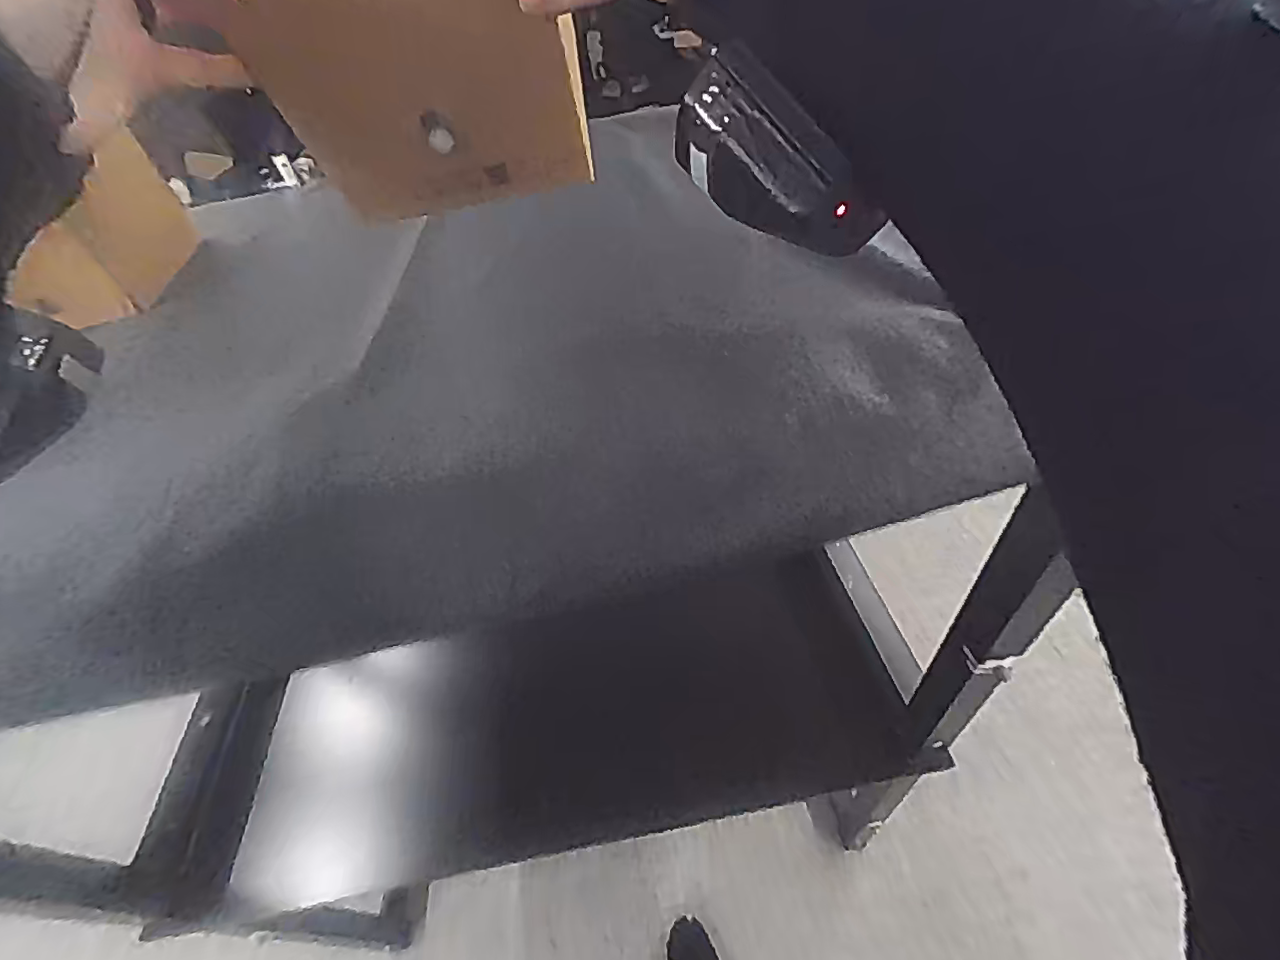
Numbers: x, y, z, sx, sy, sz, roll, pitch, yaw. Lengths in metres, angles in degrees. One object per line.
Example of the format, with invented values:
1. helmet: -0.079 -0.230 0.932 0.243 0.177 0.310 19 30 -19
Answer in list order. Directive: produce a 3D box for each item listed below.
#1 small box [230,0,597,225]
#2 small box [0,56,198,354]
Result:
1. small box: -0.126 -0.295 0.331 0.168 0.176 0.179 -9 68 4
2. small box: -0.526 -0.227 0.453 0.168 0.176 0.179 -16 47 -5
